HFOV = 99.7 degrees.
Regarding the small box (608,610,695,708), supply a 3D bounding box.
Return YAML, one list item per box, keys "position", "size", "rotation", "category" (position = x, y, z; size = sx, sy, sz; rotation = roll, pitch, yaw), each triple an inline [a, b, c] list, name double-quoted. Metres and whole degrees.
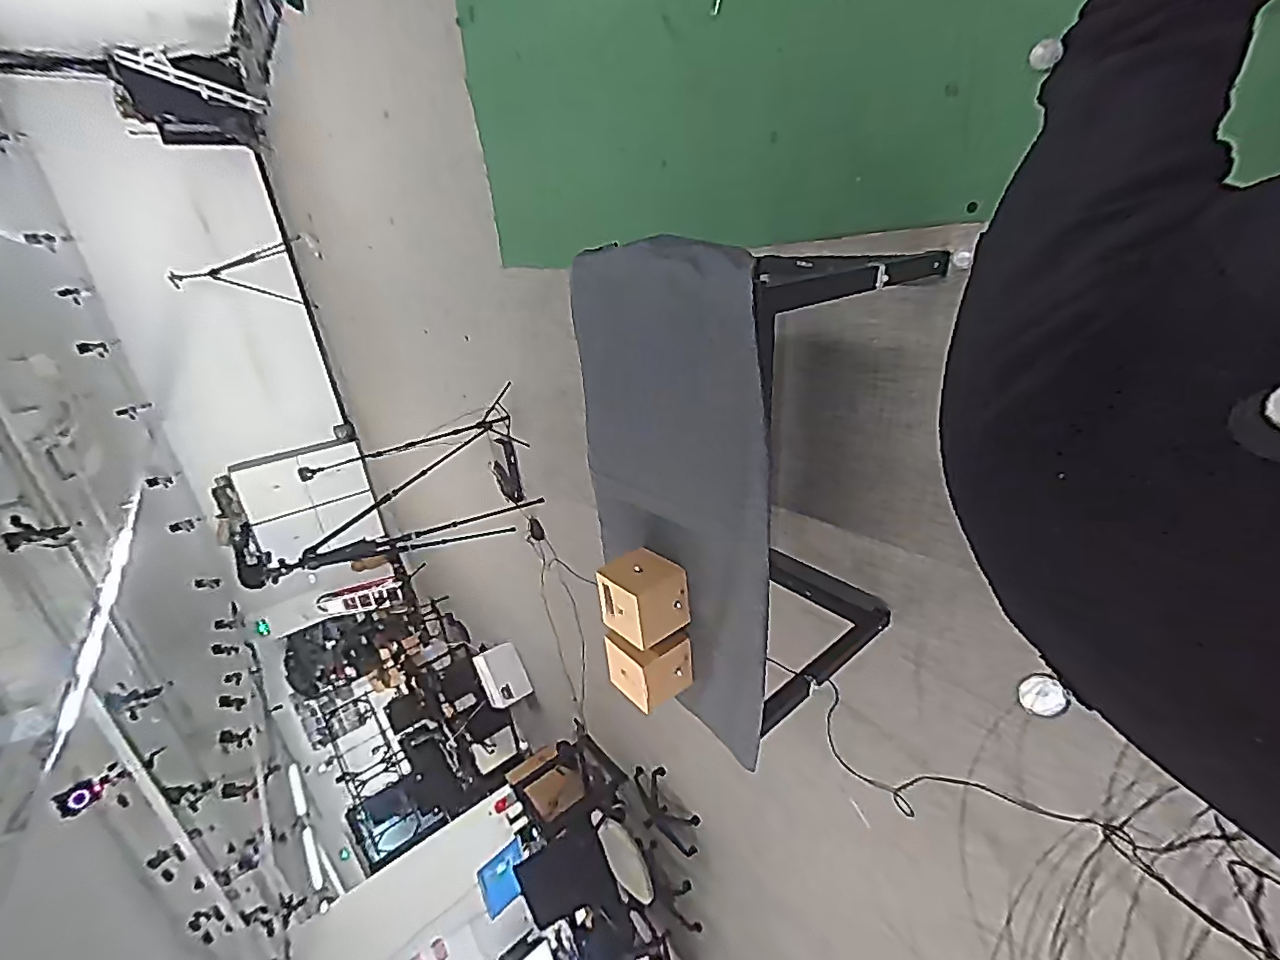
- position: [0.034, 0.489, 1.513]
  size: [0.179, 0.176, 0.168]
  rotation: [23, 126, 47]
  category: "small box"
